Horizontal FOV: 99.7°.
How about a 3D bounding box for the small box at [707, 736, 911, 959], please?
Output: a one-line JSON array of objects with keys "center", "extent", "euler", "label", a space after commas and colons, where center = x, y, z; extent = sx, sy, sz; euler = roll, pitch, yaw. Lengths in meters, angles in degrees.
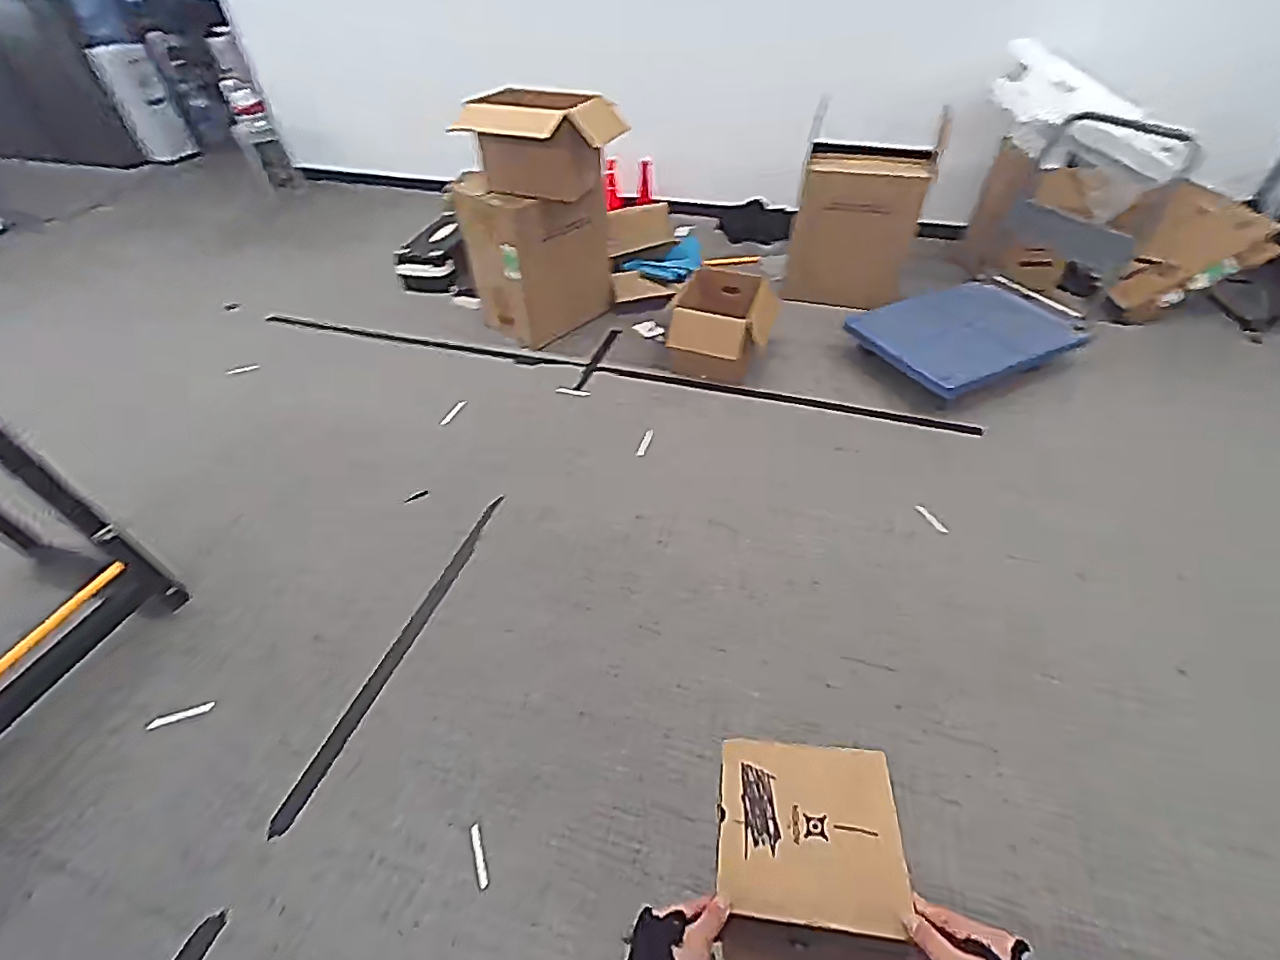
[{"center": [0.171, 0.403, 0.582], "extent": [0.179, 0.176, 0.168], "euler": [-1, 35, 12], "label": "small box"}]
